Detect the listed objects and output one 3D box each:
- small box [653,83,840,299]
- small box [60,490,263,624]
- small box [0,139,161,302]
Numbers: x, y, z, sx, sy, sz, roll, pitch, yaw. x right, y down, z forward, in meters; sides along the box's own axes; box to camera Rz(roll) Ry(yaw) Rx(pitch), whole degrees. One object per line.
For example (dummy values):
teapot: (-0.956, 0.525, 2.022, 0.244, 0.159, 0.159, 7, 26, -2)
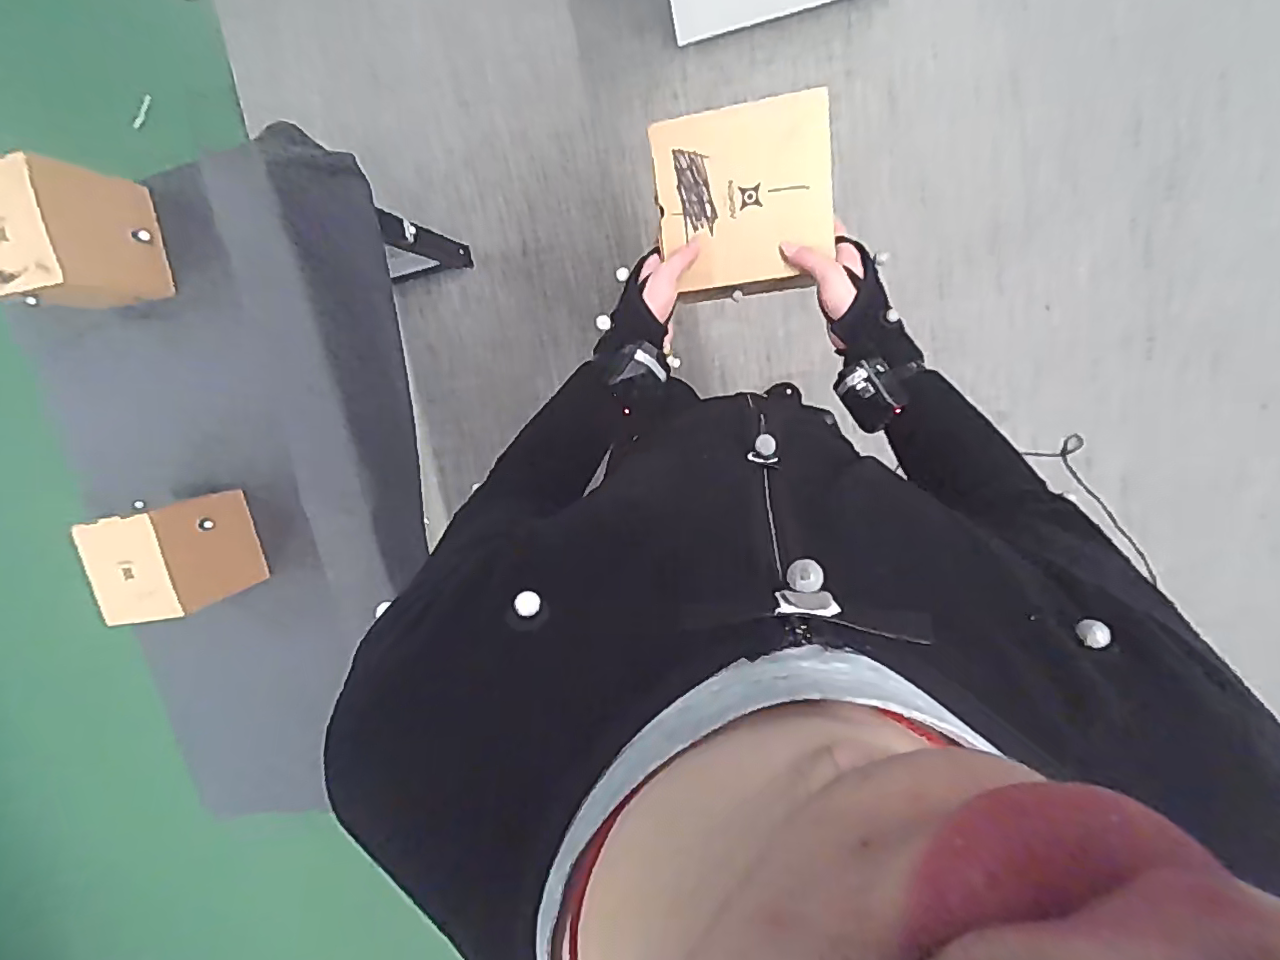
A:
small box: (0.119, -0.303, 0.610, 0.179, 0.176, 0.168, -4, 104, 10)
small box: (-0.799, 0.122, 0.922, 0.168, 0.176, 0.179, -9, 102, 12)
small box: (-0.892, -0.377, 0.819, 0.168, 0.176, 0.179, -5, 102, 10)
